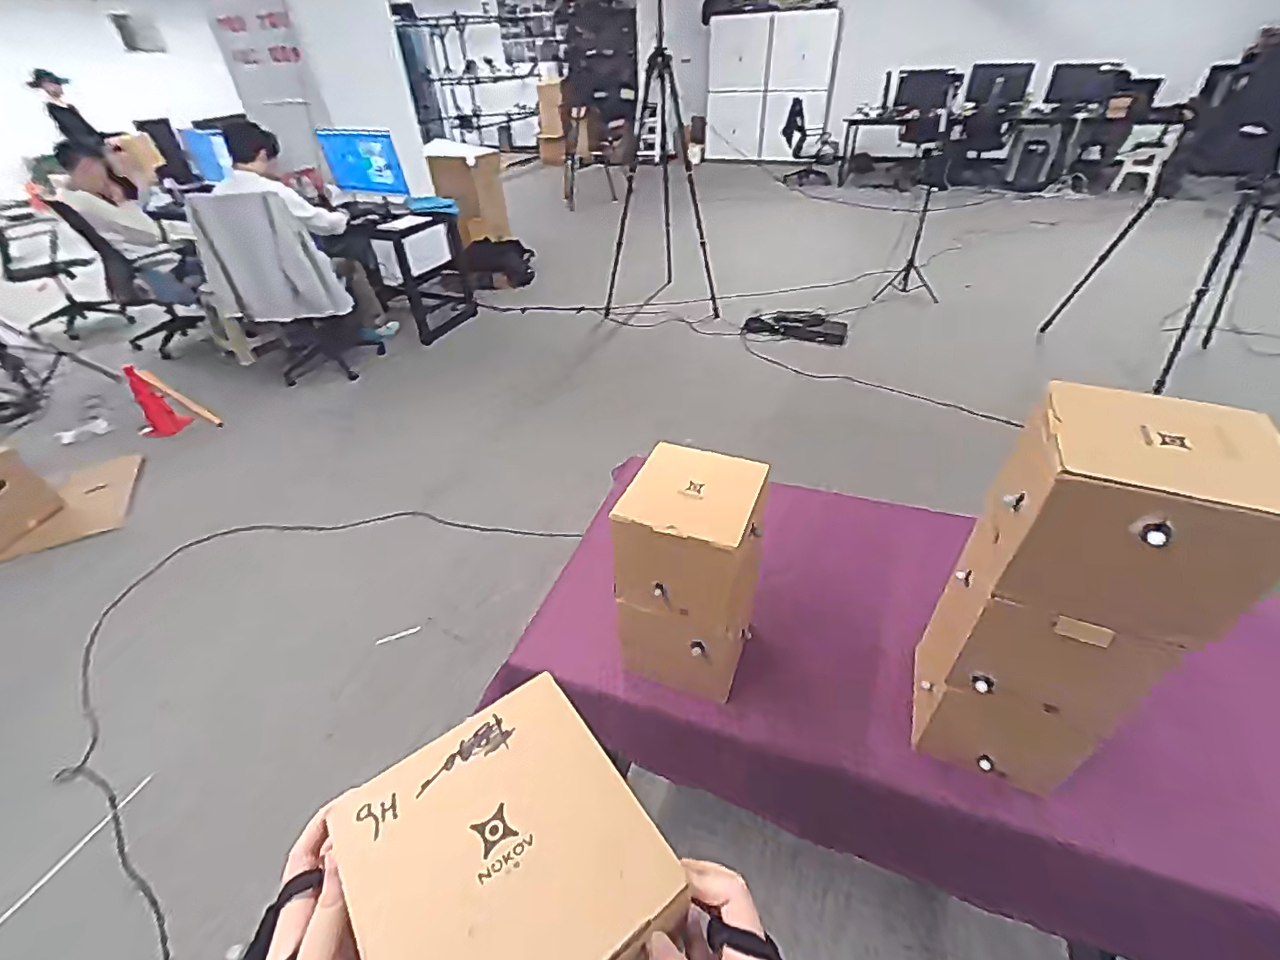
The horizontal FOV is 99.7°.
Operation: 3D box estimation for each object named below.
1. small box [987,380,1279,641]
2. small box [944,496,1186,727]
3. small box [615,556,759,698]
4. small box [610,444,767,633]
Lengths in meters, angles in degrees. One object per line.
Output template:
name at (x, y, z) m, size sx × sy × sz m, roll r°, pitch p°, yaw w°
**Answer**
small box at (0.459, 0.026, 0.524) m, size 0.179 × 0.176 × 0.168 m, roll 15°, pitch 44°, yaw 22°
small box at (0.469, 0.150, 0.630) m, size 0.168 × 0.176 × 0.179 m, roll 14°, pitch 41°, yaw 22°
small box at (0.077, 0.213, 0.851) m, size 0.179 × 0.176 × 0.168 m, roll 12°, pitch 40°, yaw 19°
small box at (0.070, 0.078, 0.759) m, size 0.168 × 0.176 × 0.179 m, roll 13°, pitch 42°, yaw 19°
